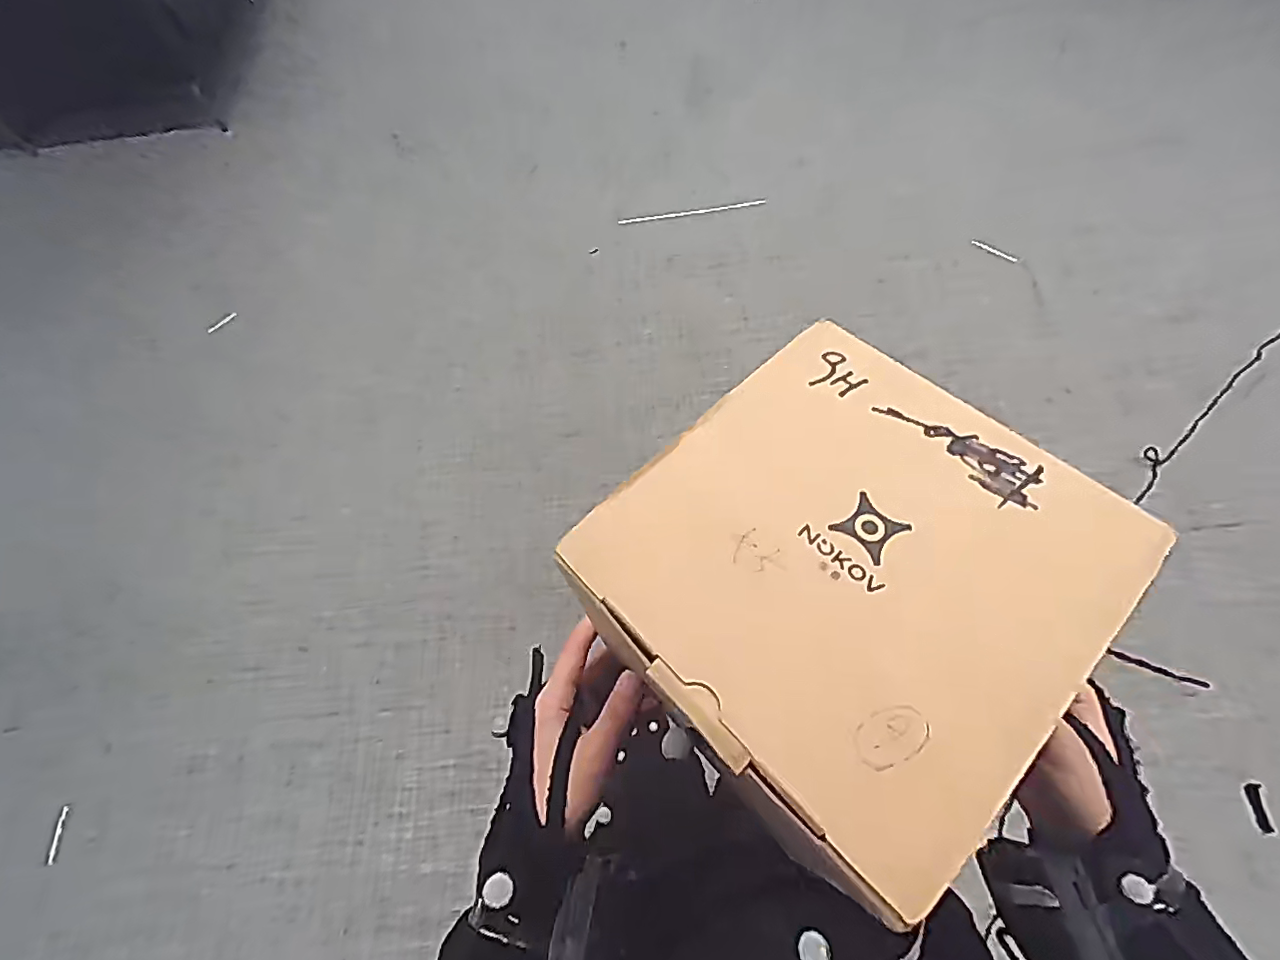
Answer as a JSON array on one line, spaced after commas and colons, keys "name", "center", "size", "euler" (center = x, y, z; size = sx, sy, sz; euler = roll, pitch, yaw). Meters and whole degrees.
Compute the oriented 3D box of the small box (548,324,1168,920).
[{"name": "small box", "center": [0.086, 0.064, 0.278], "size": [0.179, 0.176, 0.168], "euler": [-40, 64, -16]}]
